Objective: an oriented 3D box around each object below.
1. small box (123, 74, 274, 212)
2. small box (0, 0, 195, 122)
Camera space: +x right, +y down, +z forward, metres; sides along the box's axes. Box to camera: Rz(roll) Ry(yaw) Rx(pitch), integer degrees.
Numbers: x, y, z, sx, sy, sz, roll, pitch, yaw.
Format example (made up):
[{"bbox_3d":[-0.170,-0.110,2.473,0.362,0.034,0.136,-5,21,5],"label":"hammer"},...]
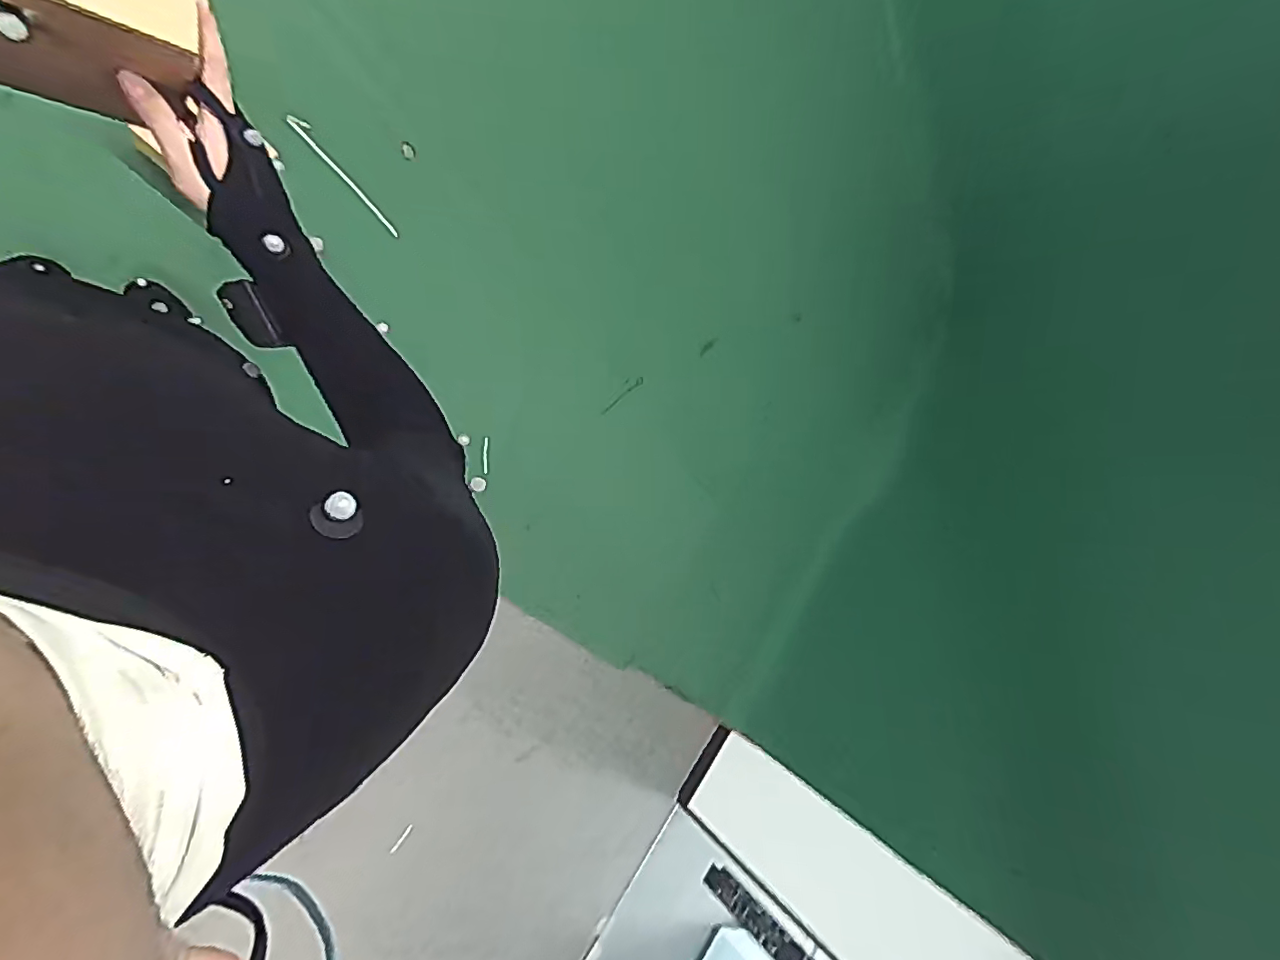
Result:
[{"bbox_3d":[-0.908,-0.684,1.124,0.168,0.176,0.179,-54,130,-13],"label":"small box"},{"bbox_3d":[-0.440,-0.392,0.383,0.179,0.176,0.168,-4,97,-43],"label":"small box"}]
